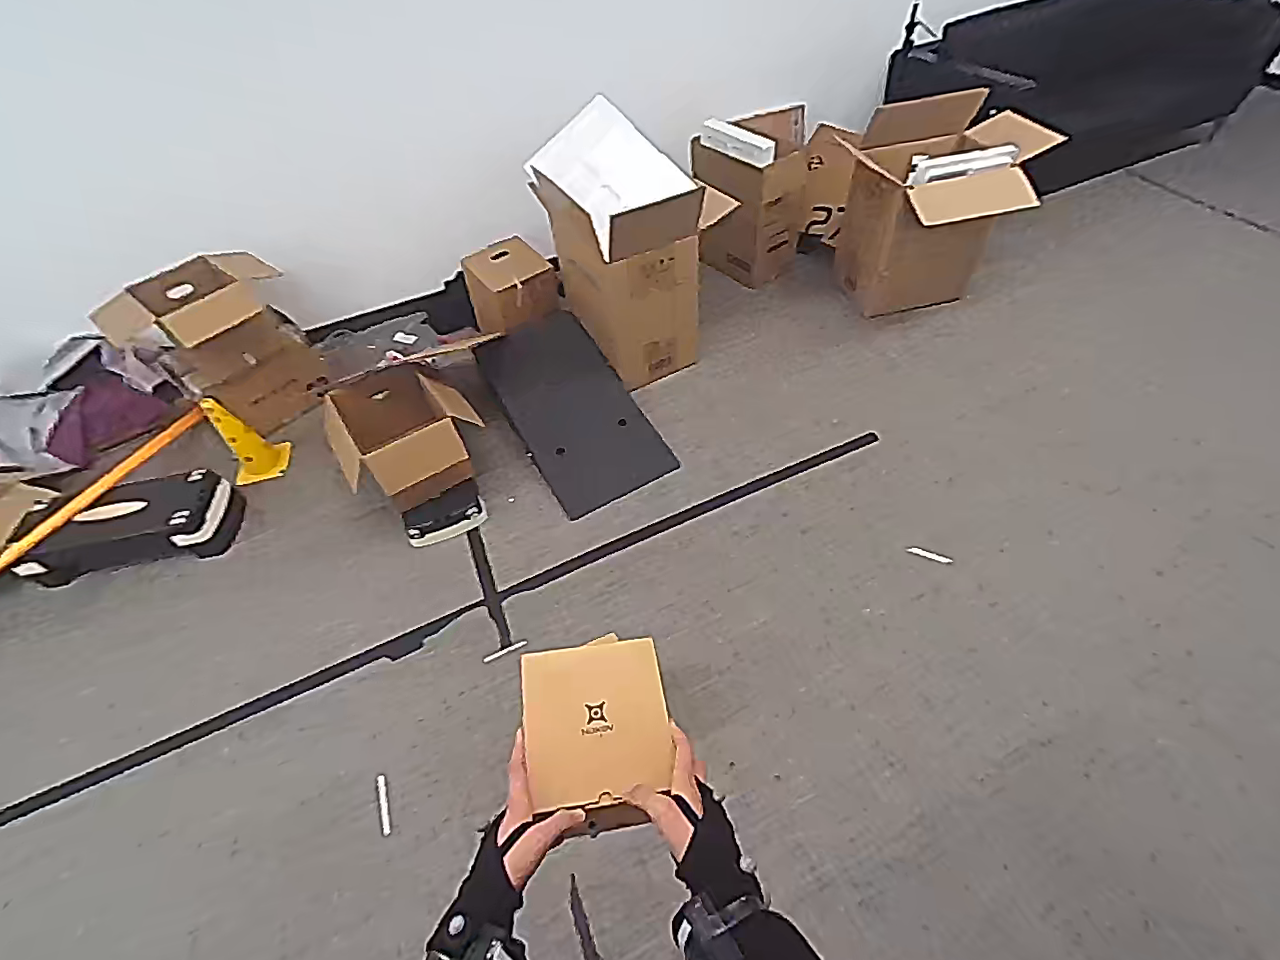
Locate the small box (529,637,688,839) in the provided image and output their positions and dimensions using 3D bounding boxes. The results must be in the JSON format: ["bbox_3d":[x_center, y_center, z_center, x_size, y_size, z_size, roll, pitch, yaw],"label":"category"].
[{"bbox_3d":[-0.049,0.318,0.668,0.168,0.176,0.179,-4,50,-9],"label":"small box"}]
